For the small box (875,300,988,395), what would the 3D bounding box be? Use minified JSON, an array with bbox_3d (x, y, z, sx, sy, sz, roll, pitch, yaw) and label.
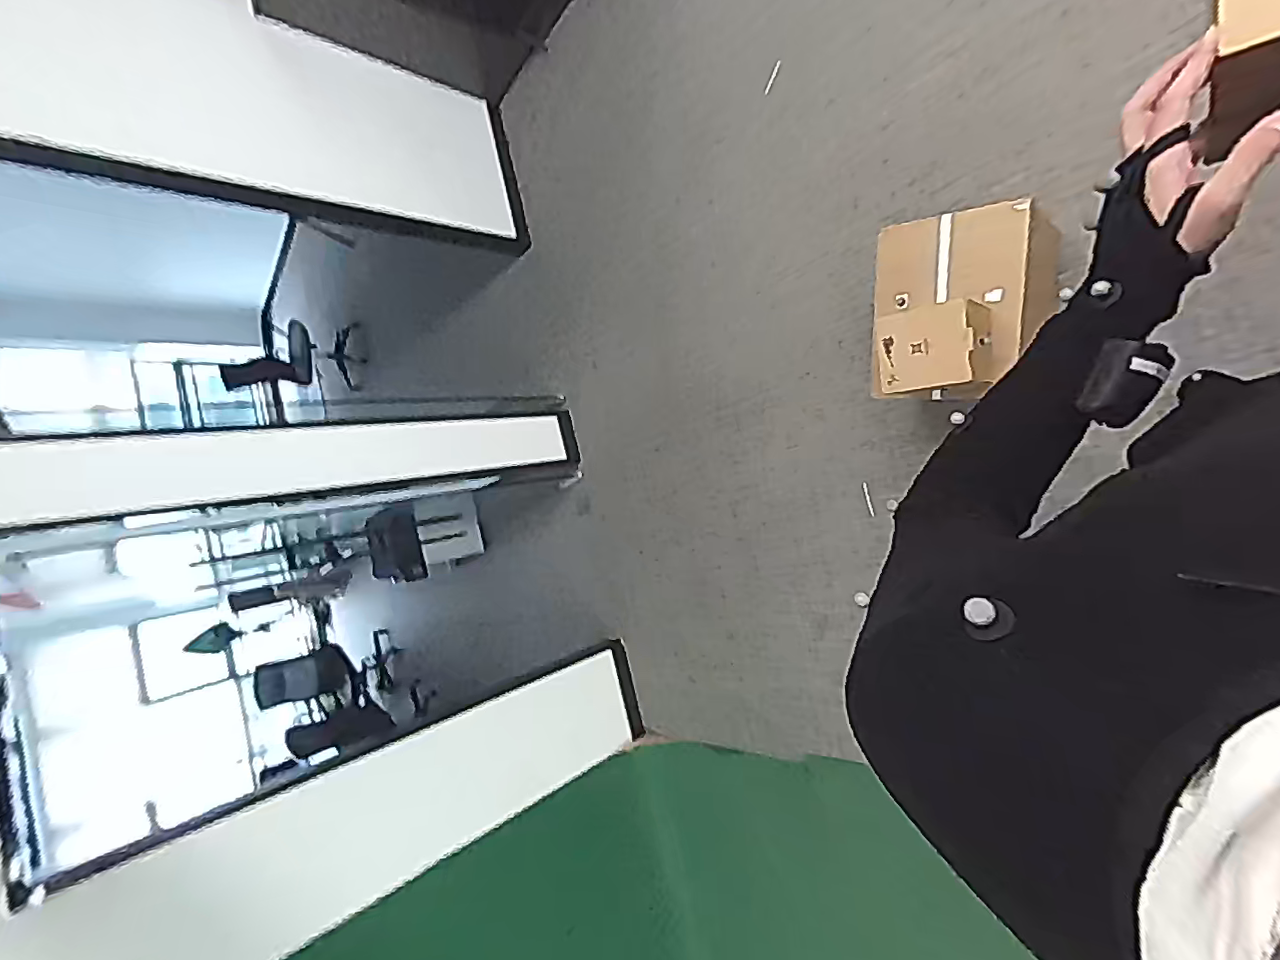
[{"bbox_3d":[0.631,-0.276,1.162,0.179,0.176,0.168,-3,94,45],"label":"small box"}]
